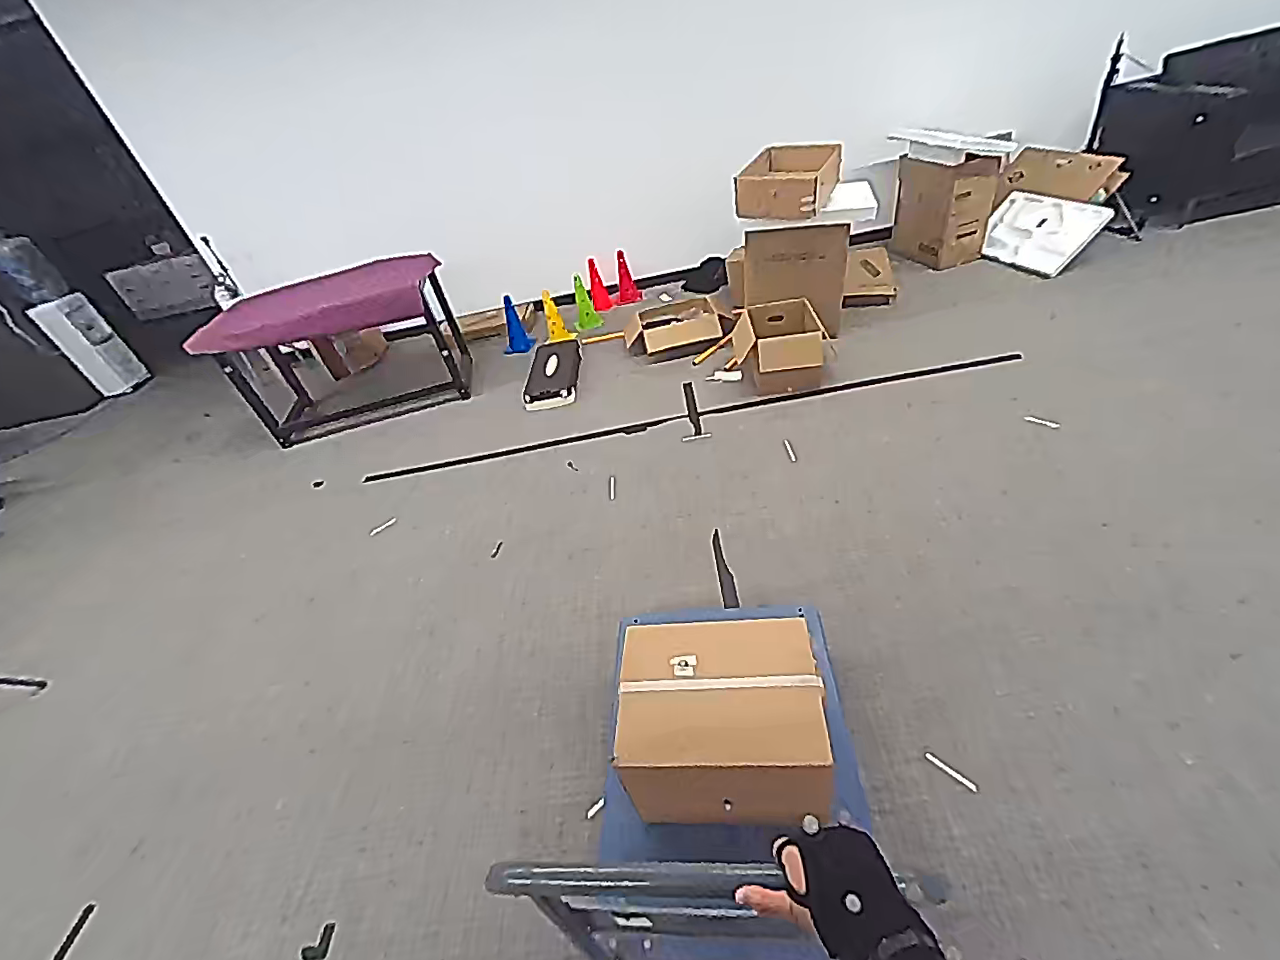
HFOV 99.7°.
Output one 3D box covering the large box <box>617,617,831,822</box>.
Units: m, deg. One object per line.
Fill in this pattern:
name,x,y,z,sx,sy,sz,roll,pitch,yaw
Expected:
large box,0.188,0.541,1.210,0.408,0.320,0.320,-7,38,10
